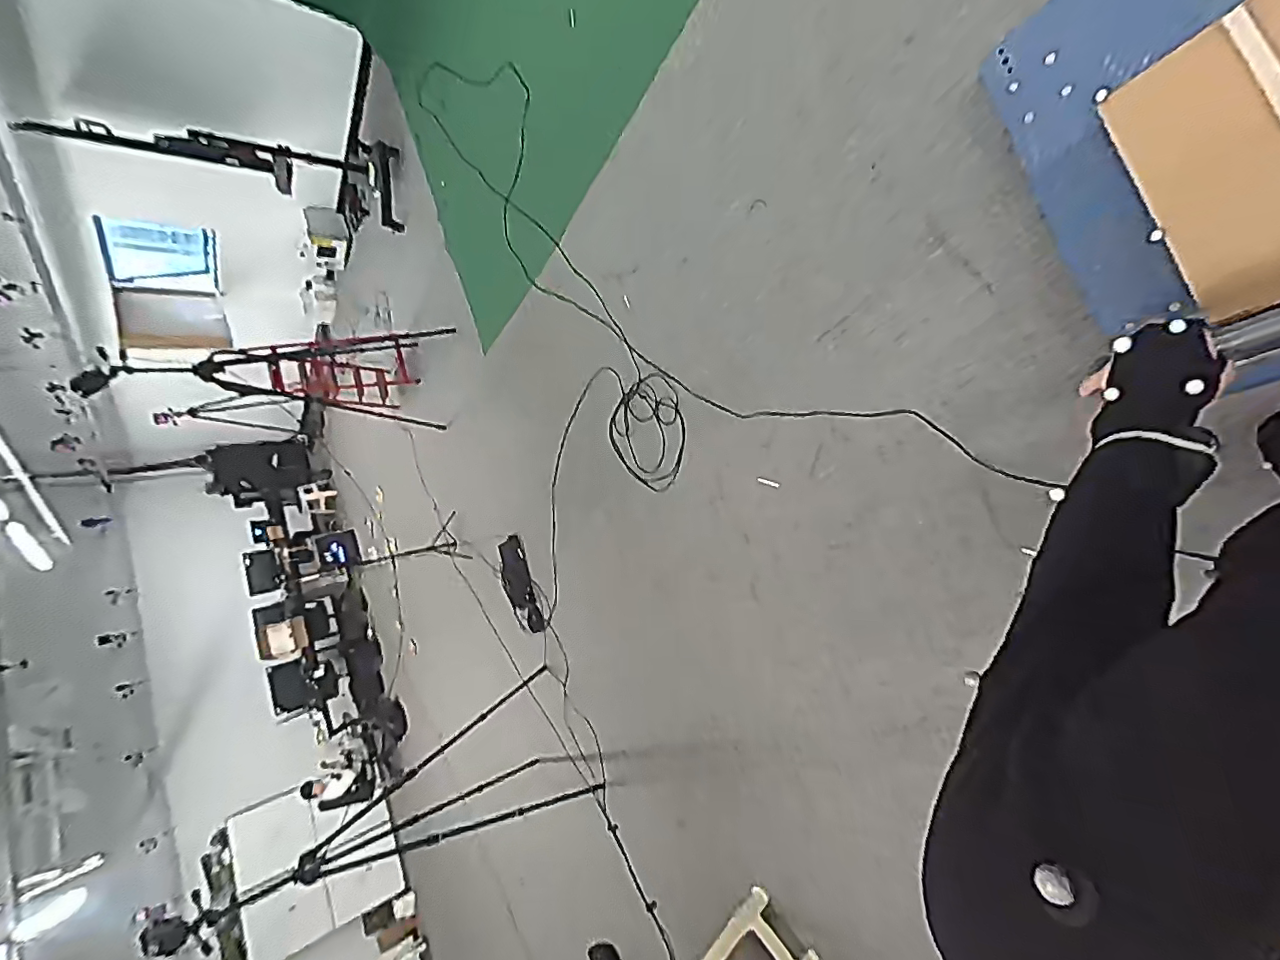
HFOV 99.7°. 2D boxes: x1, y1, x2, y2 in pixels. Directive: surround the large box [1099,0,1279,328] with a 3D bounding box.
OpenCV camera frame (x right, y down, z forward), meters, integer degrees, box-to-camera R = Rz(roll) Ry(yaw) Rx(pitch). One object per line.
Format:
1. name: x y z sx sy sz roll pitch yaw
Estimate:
1. large box: 1.005 -0.490 0.822 0.320 0.320 0.408 -28 75 48
